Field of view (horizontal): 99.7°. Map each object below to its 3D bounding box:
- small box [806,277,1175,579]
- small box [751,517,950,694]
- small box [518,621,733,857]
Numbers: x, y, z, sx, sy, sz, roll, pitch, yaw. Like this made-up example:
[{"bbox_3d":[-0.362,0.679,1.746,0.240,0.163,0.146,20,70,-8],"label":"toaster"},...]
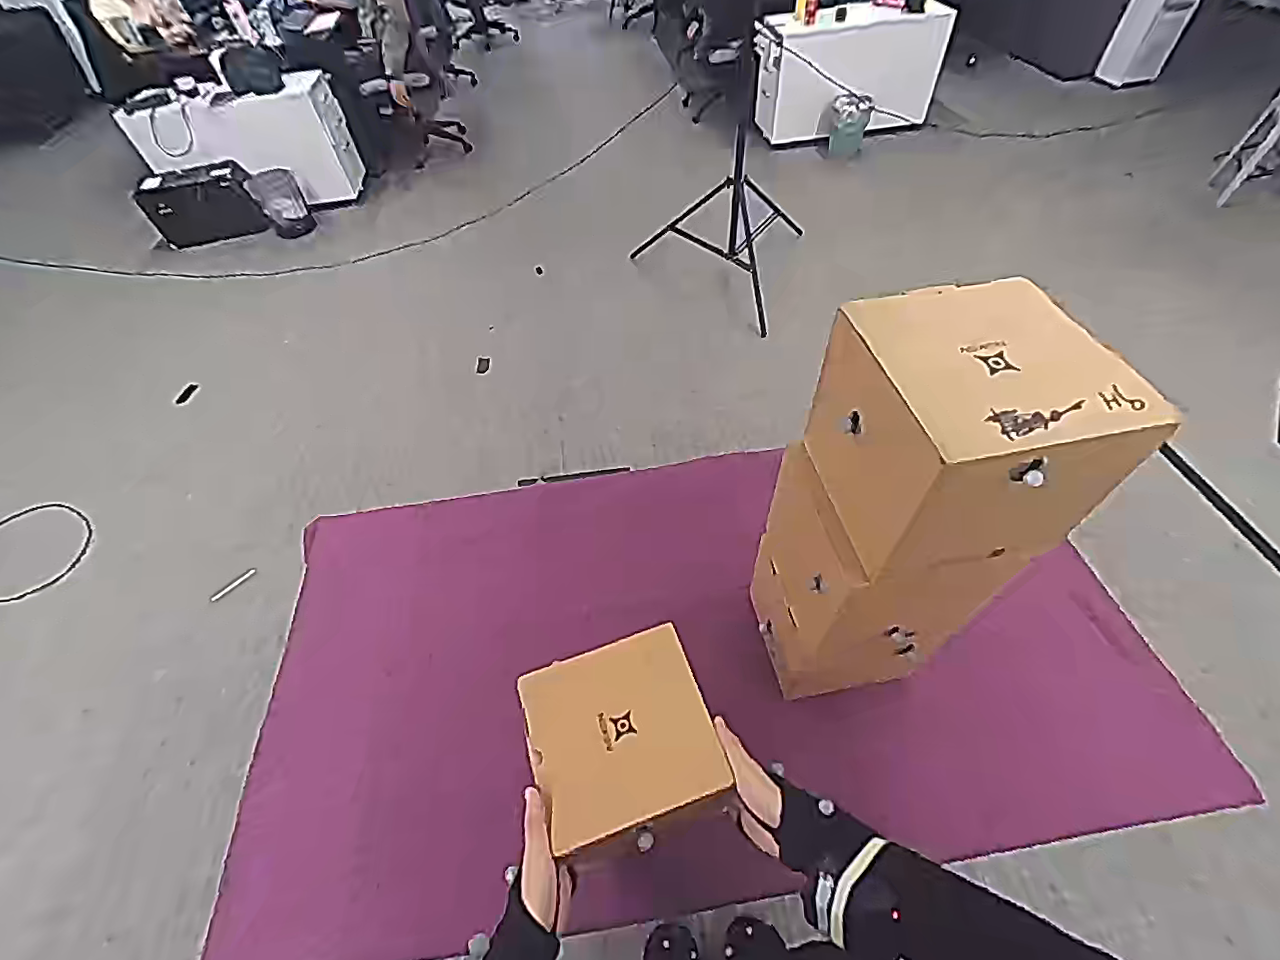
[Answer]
[{"bbox_3d":[0.256,-0.042,0.457,0.168,0.176,0.179,-10,52,-3],"label":"small box"},{"bbox_3d":[0.258,0.164,0.714,0.179,0.176,0.168,-10,51,-2],"label":"small box"},{"bbox_3d":[-0.013,0.284,0.588,0.179,0.176,0.168,-19,53,-6],"label":"small box"}]
